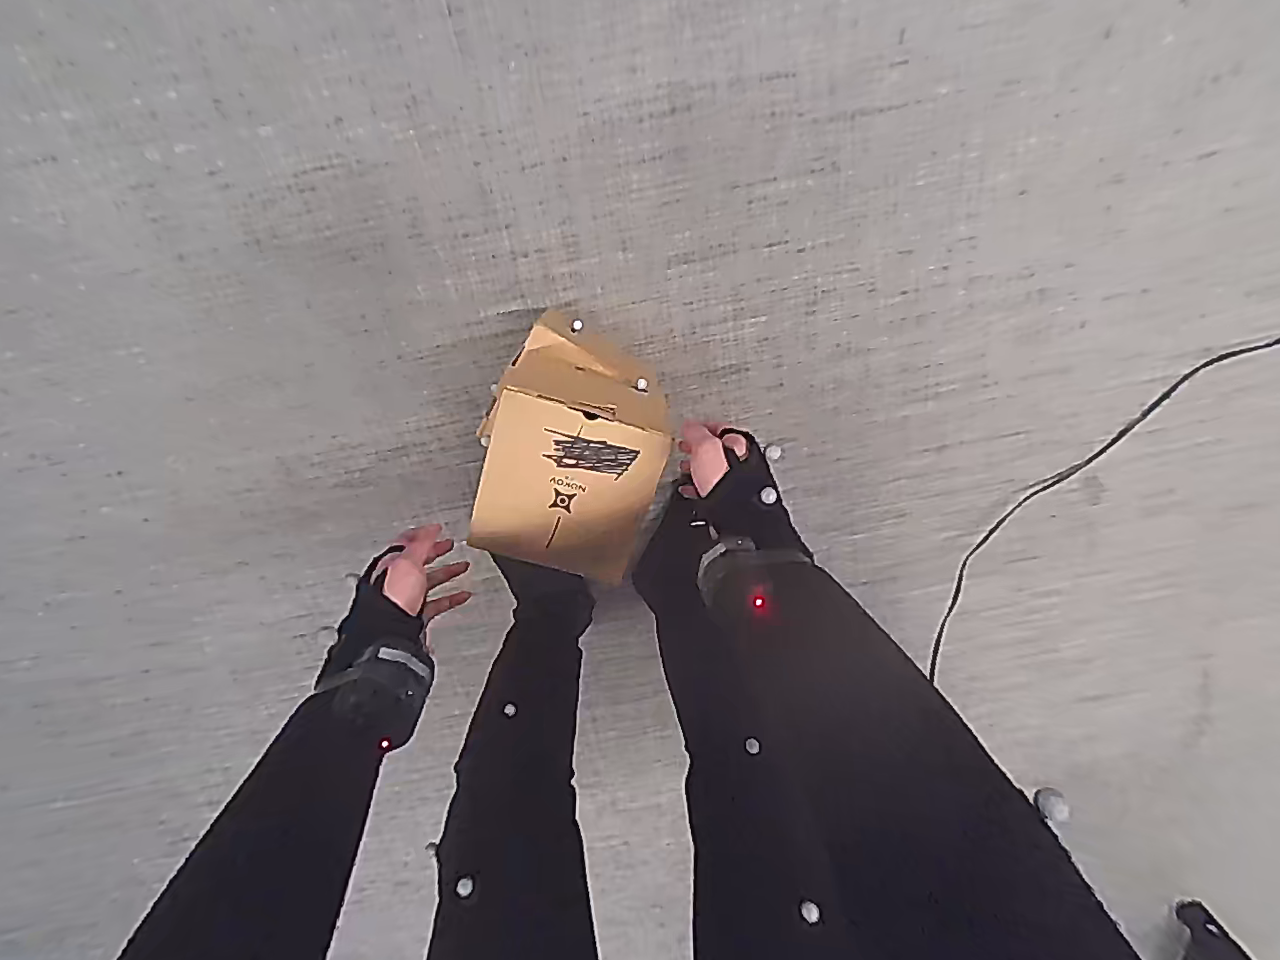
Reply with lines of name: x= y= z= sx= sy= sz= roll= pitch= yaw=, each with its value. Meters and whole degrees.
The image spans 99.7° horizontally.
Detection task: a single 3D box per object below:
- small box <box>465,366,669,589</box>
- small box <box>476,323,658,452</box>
small box: x=-0.078 y=-0.013 z=0.605 sx=0.168 sy=0.176 sz=0.179 roll=16 pitch=113 yaw=-9
small box: x=-0.096 y=-0.100 z=0.745 sx=0.179 sy=0.176 sz=0.168 roll=28 pitch=110 yaw=-15
